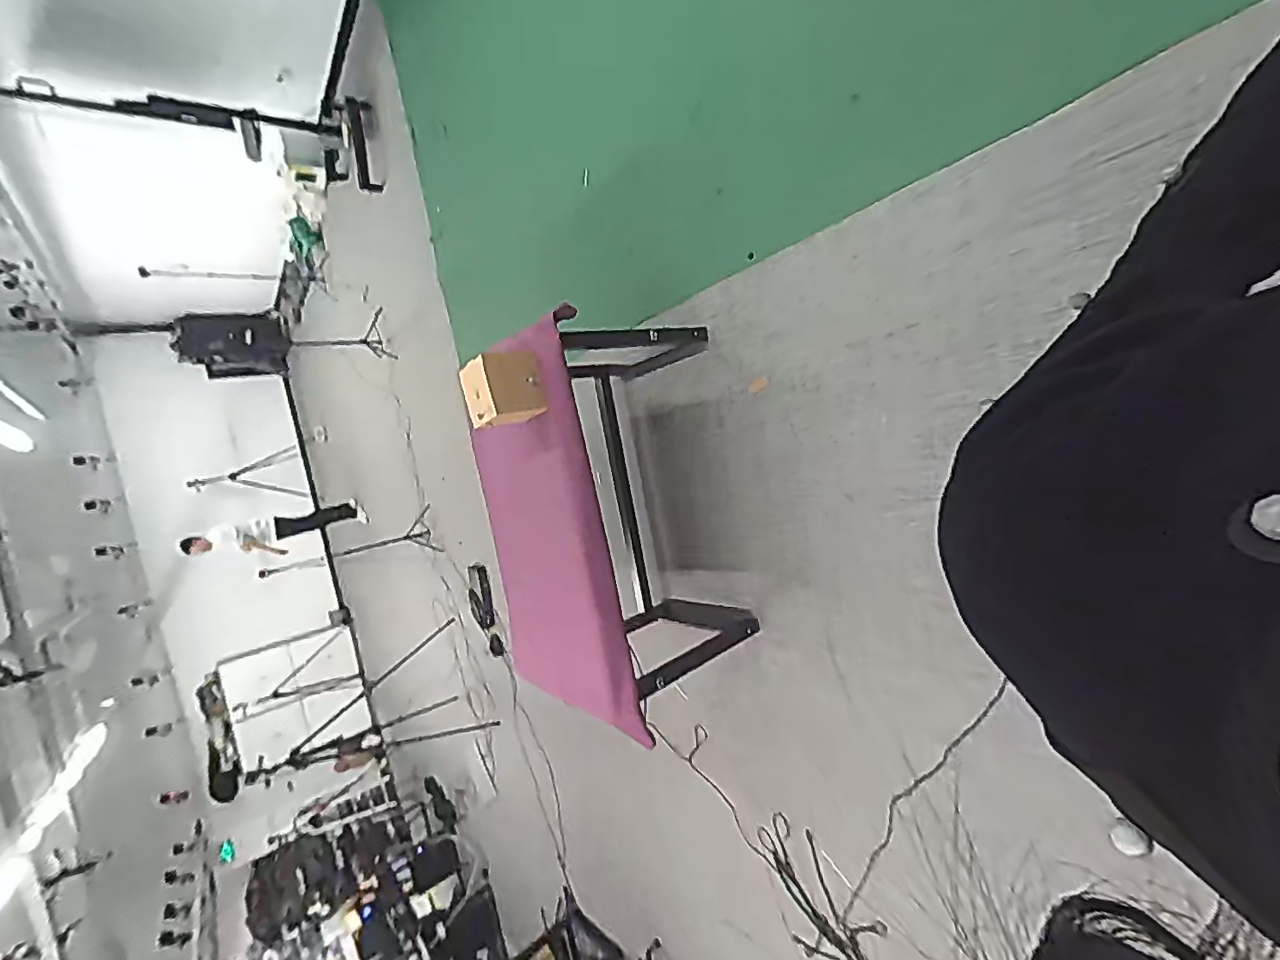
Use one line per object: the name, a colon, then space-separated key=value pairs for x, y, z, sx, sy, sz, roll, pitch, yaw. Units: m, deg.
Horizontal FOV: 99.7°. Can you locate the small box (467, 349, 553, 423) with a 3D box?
small box: x=-0.377 y=-0.275 z=1.572 sx=0.168 sy=0.176 sz=0.179 roll=-13 pitch=92 yaw=52
